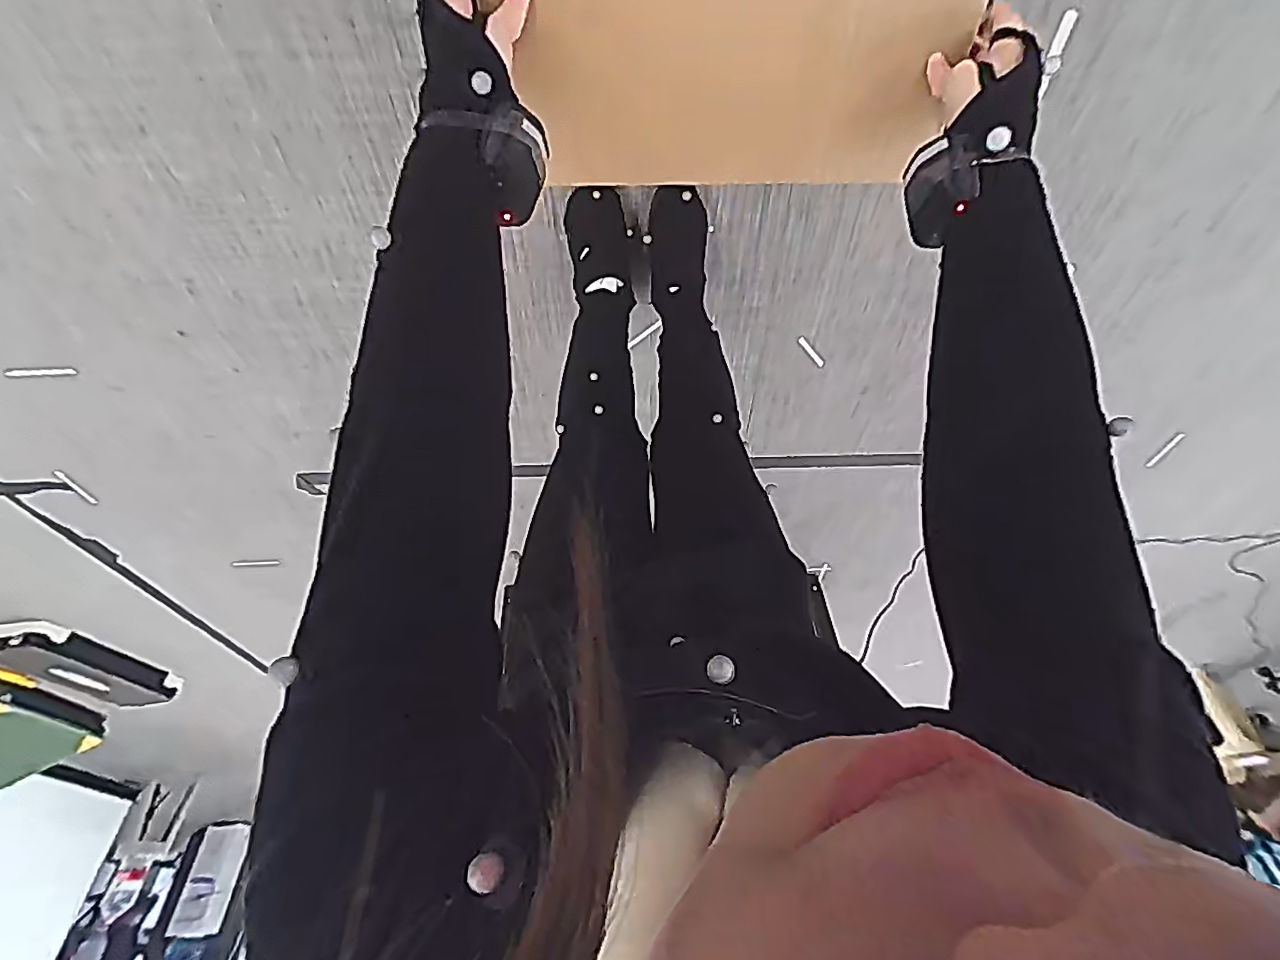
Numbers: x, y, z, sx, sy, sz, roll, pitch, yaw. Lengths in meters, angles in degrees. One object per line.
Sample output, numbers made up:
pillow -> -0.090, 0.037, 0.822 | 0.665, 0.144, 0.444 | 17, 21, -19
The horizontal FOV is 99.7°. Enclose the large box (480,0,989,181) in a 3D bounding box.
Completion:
large box -> 0.072, -0.500, 0.495 | 0.408, 0.320, 0.320 | -1, 138, -1
